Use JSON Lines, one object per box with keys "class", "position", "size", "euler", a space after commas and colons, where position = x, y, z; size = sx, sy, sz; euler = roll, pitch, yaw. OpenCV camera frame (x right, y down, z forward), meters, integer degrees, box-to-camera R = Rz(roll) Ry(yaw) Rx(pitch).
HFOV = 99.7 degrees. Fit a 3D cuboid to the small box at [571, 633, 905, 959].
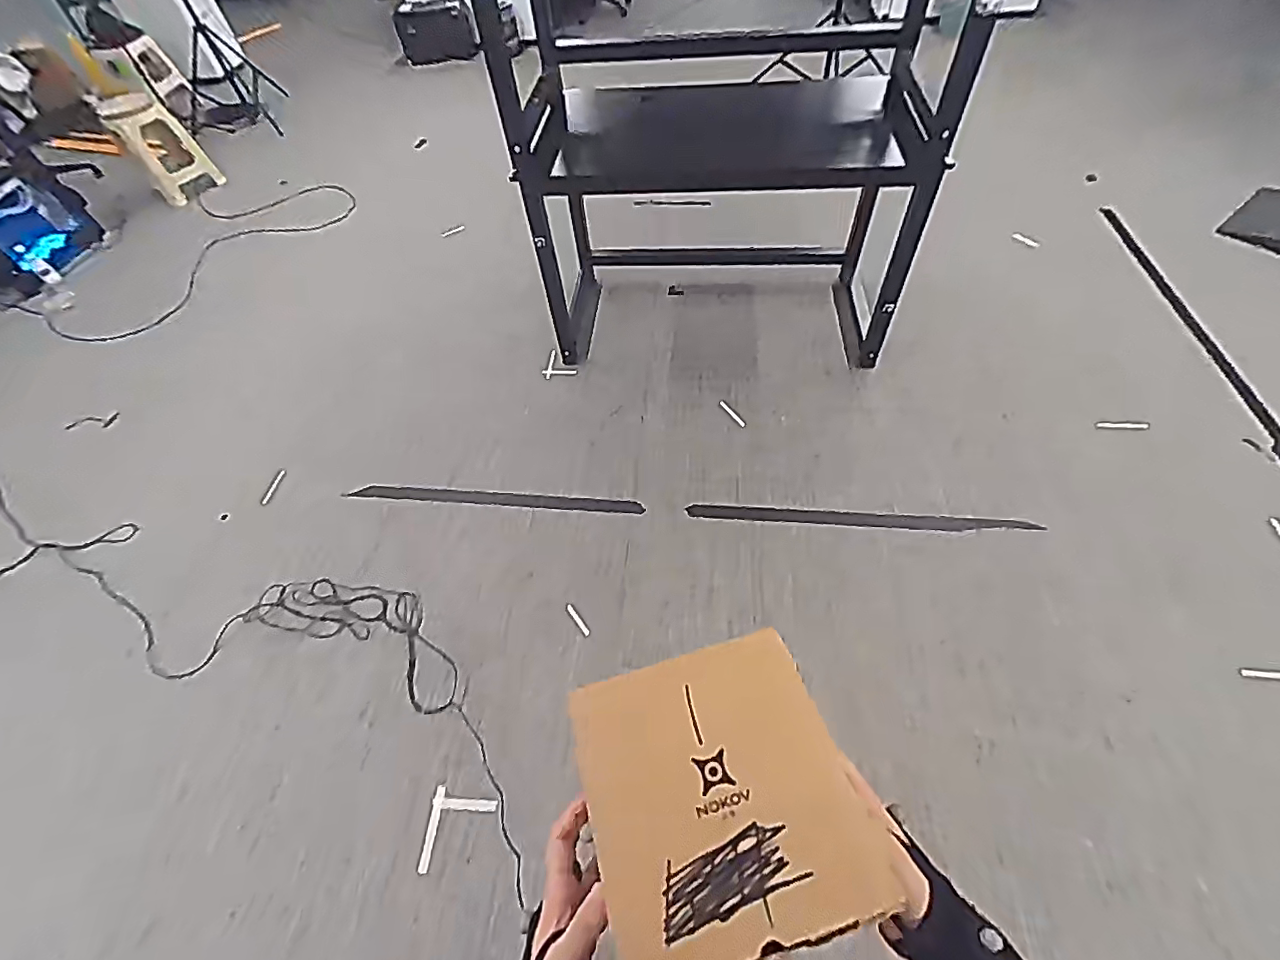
{"class": "small box", "position": [0.055, 0.246, 0.405], "size": [0.168, 0.176, 0.179], "euler": [-14, 52, -8]}
